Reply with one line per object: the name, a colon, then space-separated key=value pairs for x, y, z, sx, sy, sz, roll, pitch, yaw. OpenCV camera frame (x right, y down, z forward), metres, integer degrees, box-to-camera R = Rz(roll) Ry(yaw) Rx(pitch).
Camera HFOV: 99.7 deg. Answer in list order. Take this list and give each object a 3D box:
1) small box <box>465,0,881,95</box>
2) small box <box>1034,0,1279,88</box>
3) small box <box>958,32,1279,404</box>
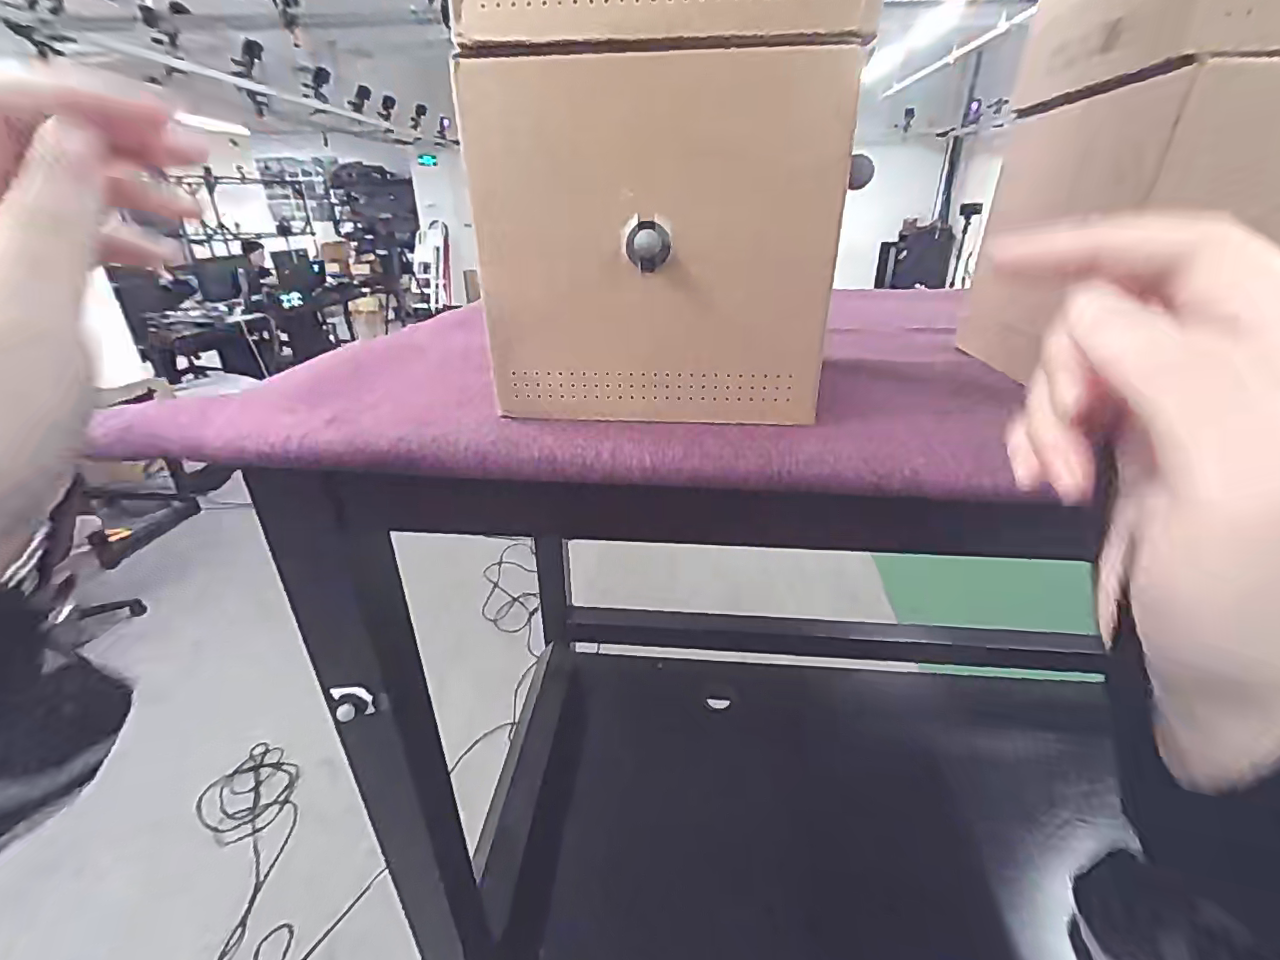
small box: x=0.013 y=-0.293 z=0.250 sx=0.179 sy=0.176 sz=0.168 roll=0 pitch=27 yaw=4
small box: x=0.333 y=-0.298 z=0.262 sx=0.179 sy=0.176 sz=0.168 roll=3 pitch=28 yaw=6
small box: x=0.333 y=-0.150 z=0.335 sx=0.168 sy=0.176 sz=0.179 roll=3 pitch=26 yaw=5
